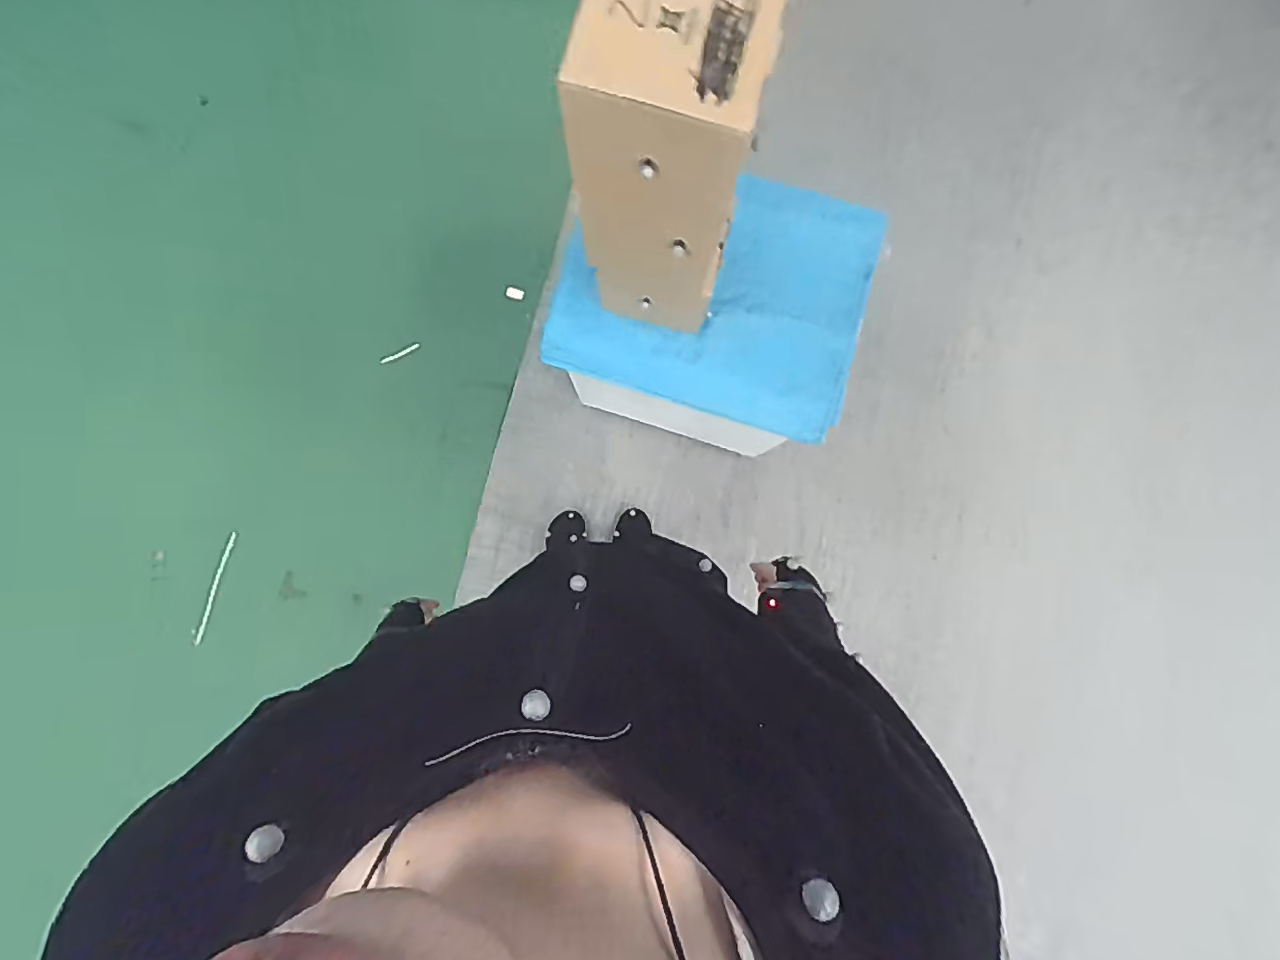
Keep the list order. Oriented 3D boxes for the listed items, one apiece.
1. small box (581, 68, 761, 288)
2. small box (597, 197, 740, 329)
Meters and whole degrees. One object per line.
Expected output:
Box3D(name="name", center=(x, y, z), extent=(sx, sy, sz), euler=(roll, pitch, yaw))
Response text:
Box3D(name="small box", center=(0.035, -0.375, 0.706), extent=(0.179, 0.176, 0.168), euler=(16, 85, 0))
Box3D(name="small box", center=(0.041, -0.361, 0.869), extent=(0.179, 0.176, 0.168), euler=(16, 85, 0))
